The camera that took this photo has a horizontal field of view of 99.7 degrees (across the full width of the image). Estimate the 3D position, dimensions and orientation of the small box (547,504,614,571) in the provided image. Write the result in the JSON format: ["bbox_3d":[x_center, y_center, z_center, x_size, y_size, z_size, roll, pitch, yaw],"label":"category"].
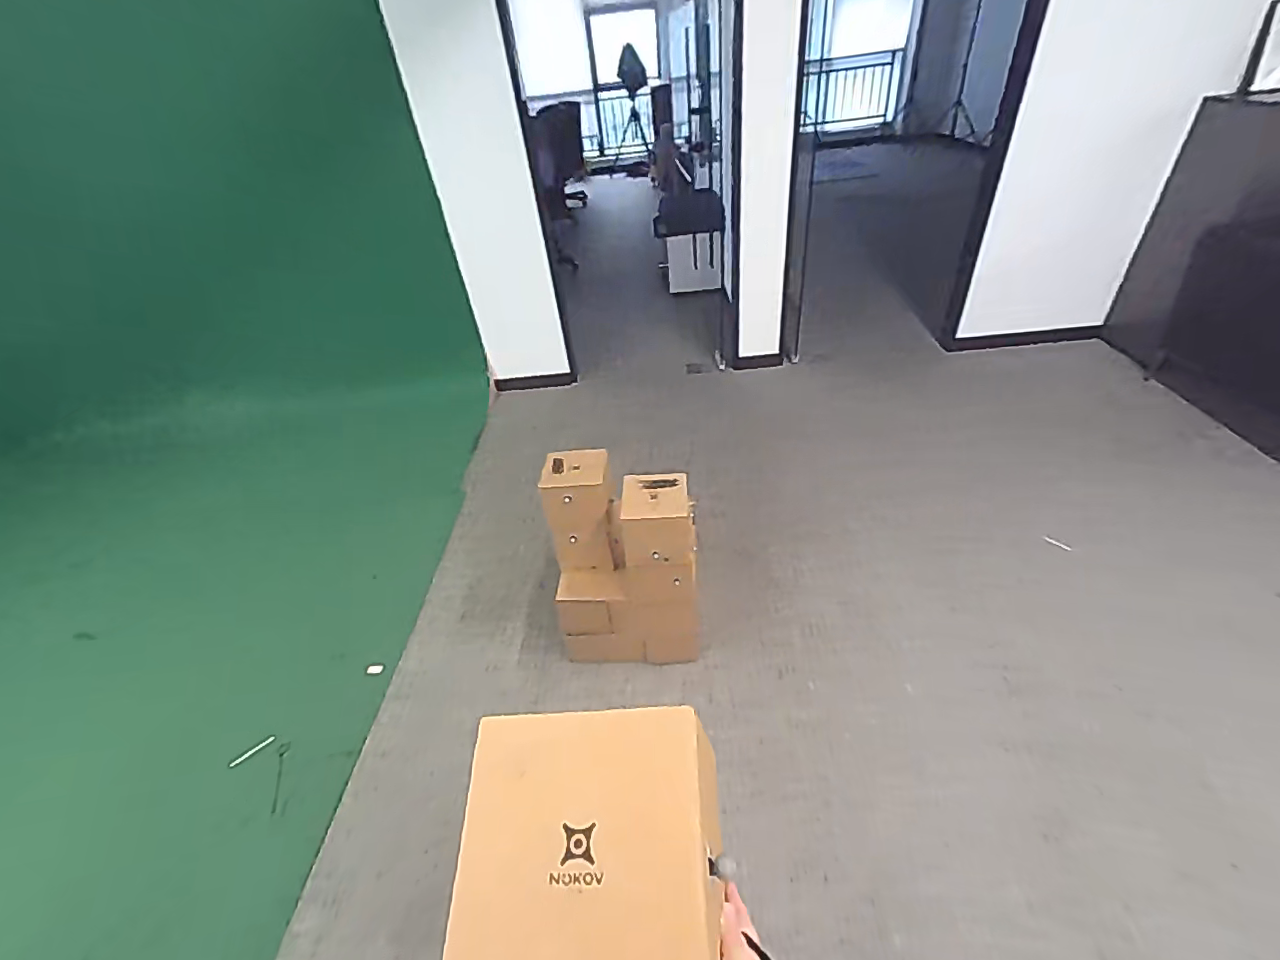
[{"bbox_3d":[-0.172,0.154,1.634,0.168,0.176,0.179,-3,37,6],"label":"small box"}]

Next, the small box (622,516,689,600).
[{"bbox_3d":[0.048,0.221,1.513,0.179,0.176,0.168,-4,37,4],"label":"small box"}]

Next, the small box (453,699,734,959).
[{"bbox_3d":[-0.019,0.283,0.417,0.168,0.176,0.179,-6,54,8],"label":"small box"}]

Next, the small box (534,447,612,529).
[{"bbox_3d":[-0.184,0.025,1.529,0.179,0.176,0.168,-4,38,5],"label":"small box"}]
